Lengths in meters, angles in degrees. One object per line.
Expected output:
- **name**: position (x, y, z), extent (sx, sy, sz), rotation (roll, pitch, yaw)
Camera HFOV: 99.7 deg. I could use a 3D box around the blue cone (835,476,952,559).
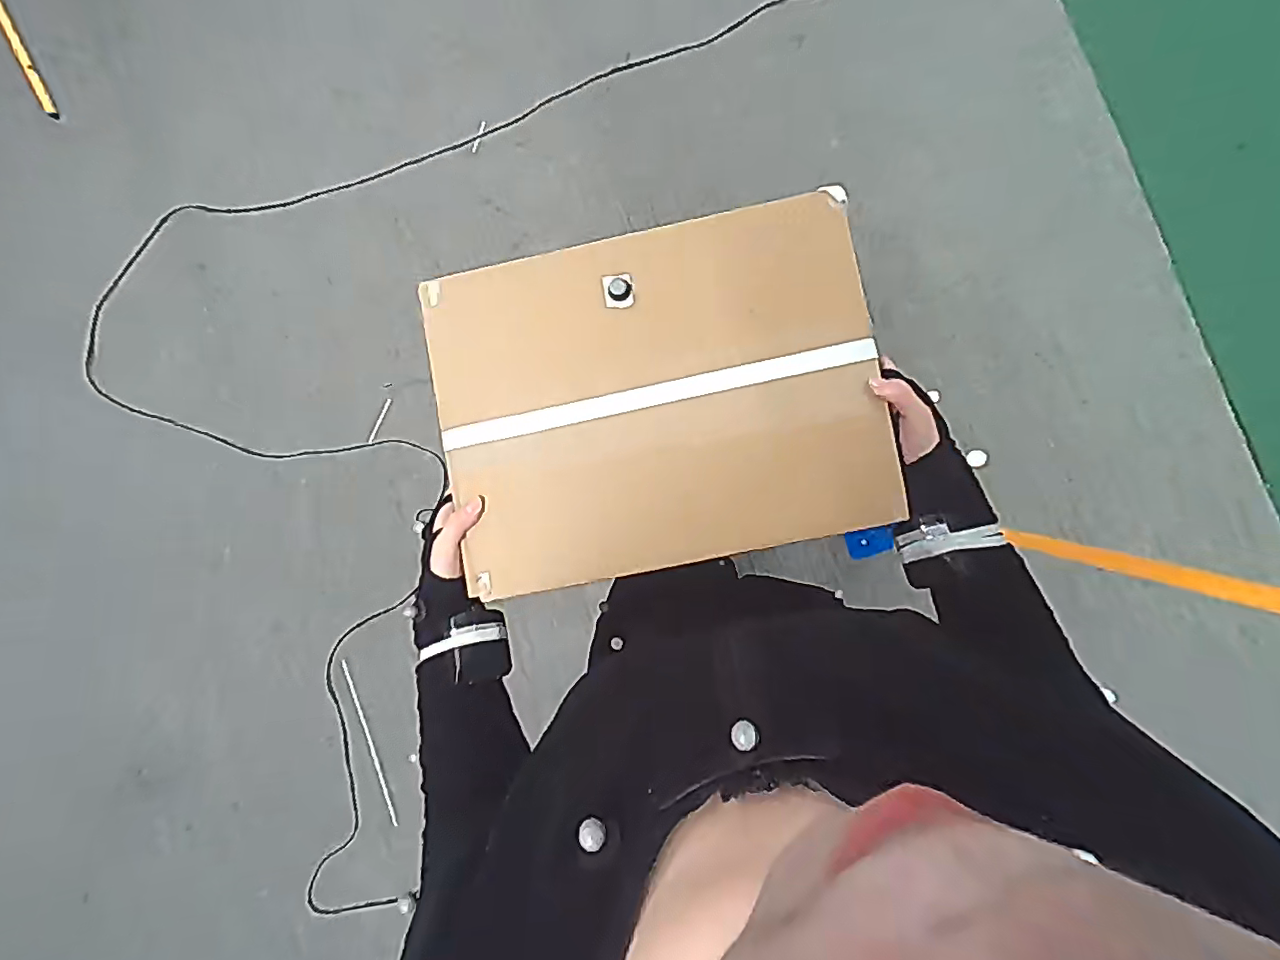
- **blue cone**: position (0.633, 0.094, 1.282), extent (0.192, 0.380, 0.193), rotation (-22, 88, 2)
